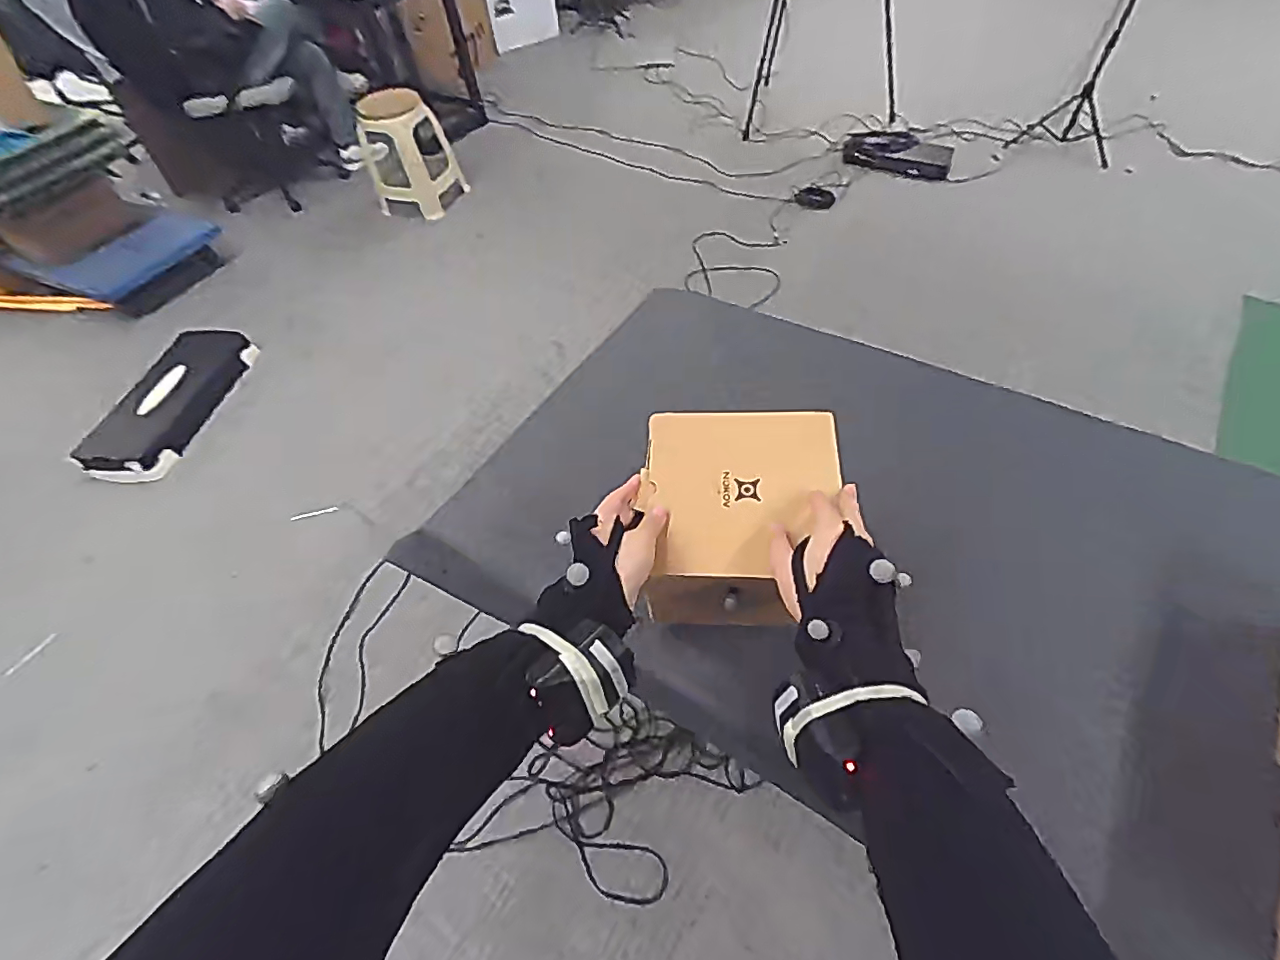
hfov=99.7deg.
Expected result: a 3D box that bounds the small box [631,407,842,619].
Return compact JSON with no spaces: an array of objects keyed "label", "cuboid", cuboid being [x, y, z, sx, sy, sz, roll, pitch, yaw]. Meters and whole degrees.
[{"label":"small box","cuboid":[0.090,0.040,0.551,0.179,0.176,0.168,0,63,6]}]
